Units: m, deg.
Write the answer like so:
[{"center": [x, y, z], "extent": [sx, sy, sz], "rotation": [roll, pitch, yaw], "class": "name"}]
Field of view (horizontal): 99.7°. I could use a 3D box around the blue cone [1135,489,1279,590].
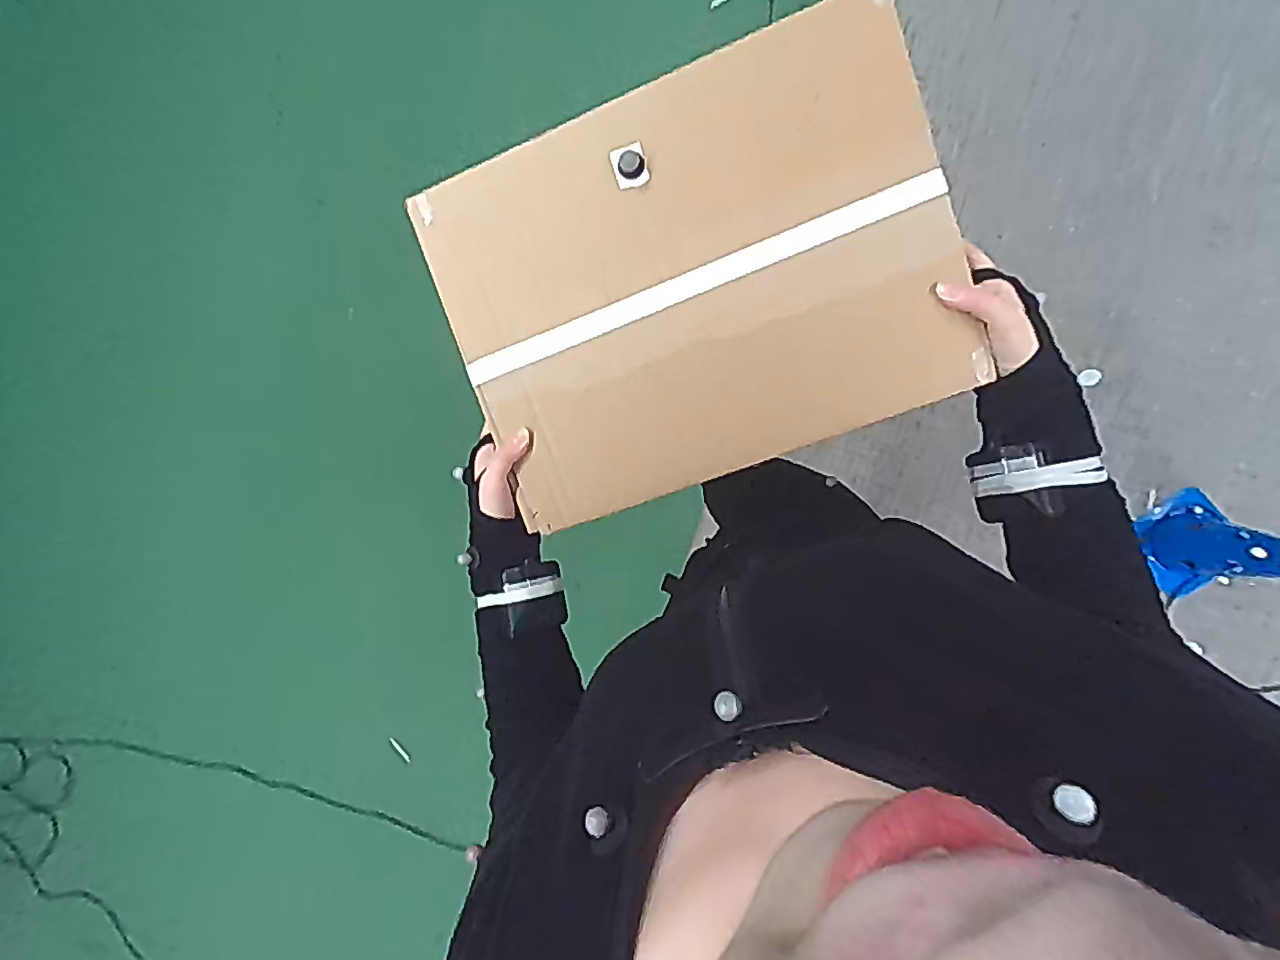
[{"center": [1.232, 0.135, 1.074], "extent": [0.192, 0.380, 0.193], "rotation": [-40, 82, 9], "class": "blue cone"}]
